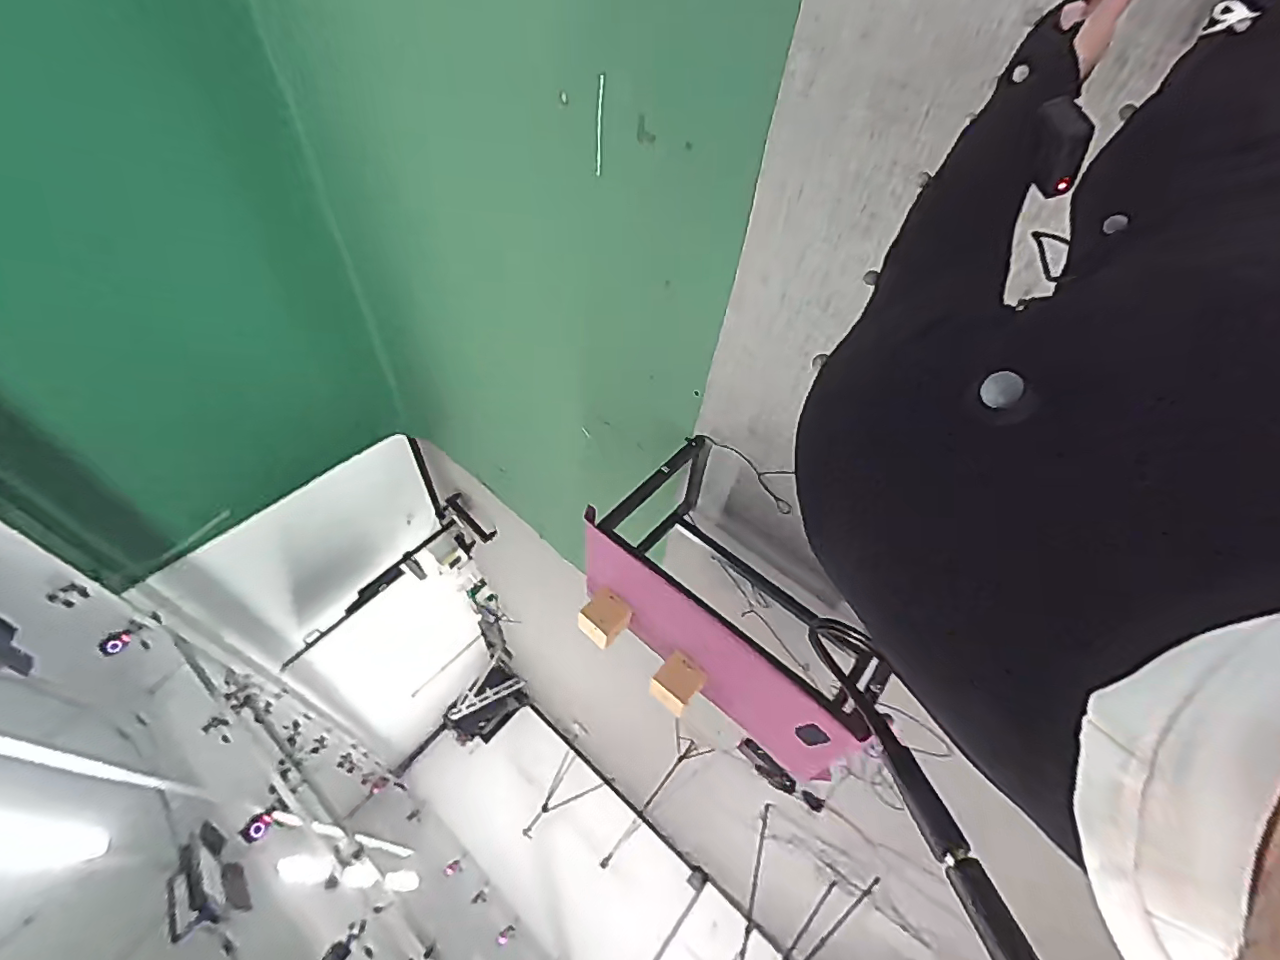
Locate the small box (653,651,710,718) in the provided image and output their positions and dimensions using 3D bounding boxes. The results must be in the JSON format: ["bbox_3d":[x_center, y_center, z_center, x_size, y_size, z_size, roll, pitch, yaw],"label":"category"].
[{"bbox_3d":[0.173,0.847,2.243,0.168,0.176,0.179,35,146,21],"label":"small box"}]

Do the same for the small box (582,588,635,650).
[{"bbox_3d":[-0.136,0.609,2.375,0.168,0.176,0.179,37,148,19],"label":"small box"}]
